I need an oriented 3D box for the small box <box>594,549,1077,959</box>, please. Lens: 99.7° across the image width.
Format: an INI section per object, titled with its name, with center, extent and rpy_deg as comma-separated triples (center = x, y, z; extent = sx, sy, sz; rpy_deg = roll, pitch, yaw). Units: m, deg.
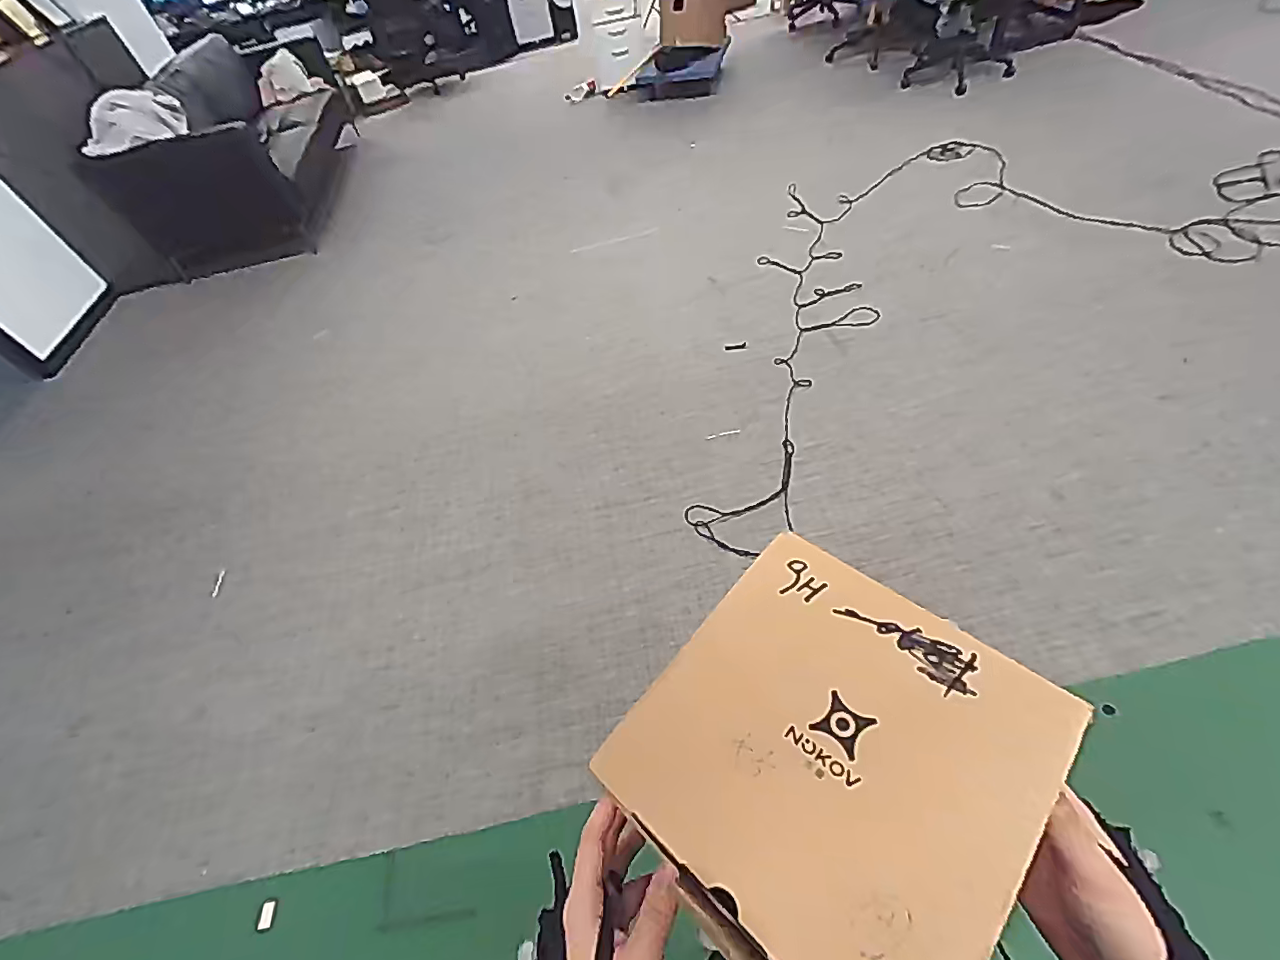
[small box]
center = 0.104, 0.183, 0.324
extent = 0.168, 0.176, 0.179
rpy_deg = 32, 63, 30
